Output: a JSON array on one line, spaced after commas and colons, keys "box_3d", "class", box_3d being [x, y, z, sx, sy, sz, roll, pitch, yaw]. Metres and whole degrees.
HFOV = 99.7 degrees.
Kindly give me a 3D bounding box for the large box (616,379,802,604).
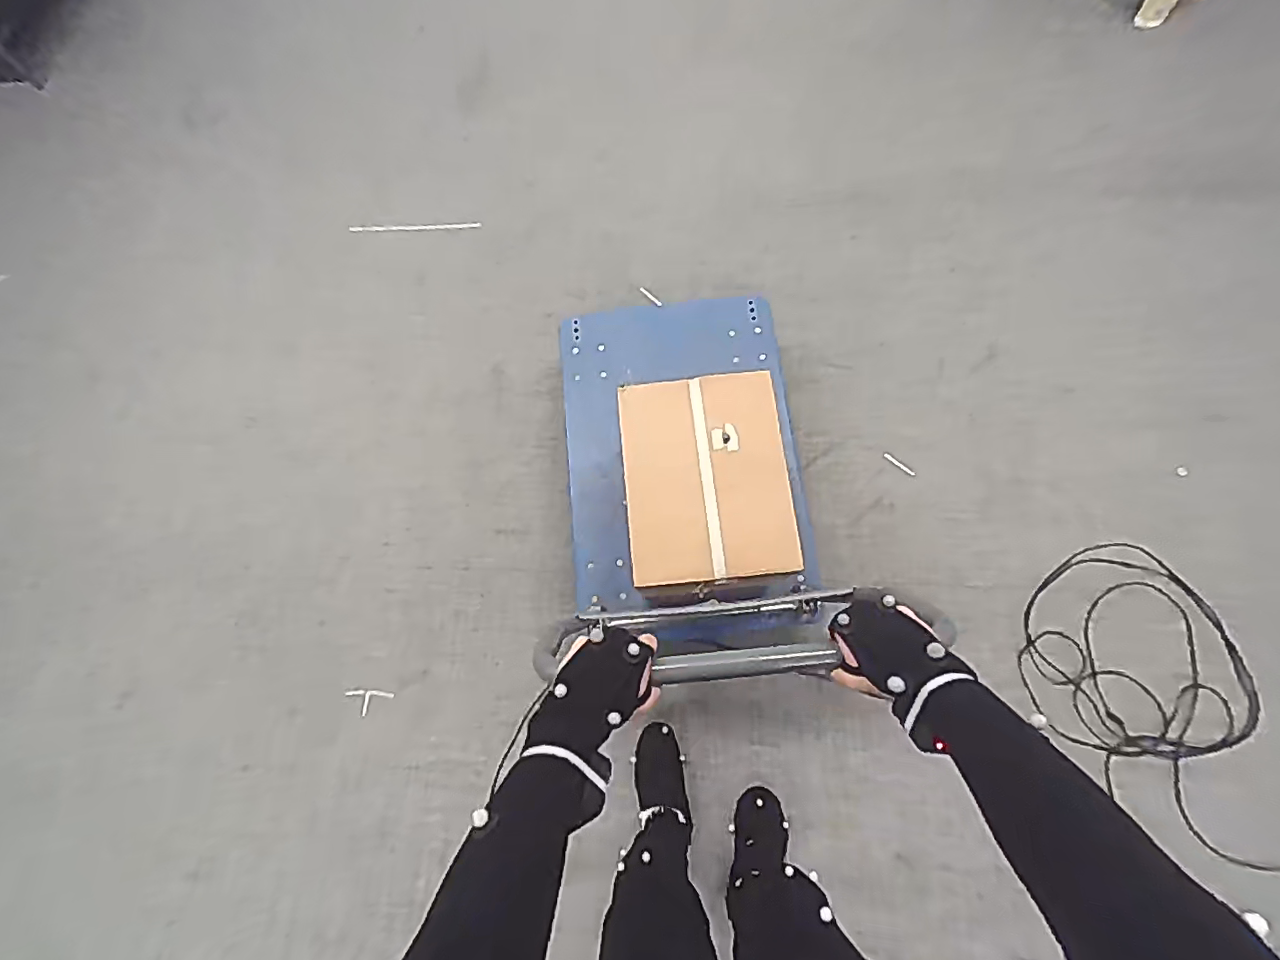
[{"box_3d": [0.132, 0.043, 1.186, 0.320, 0.320, 0.408, -6, 73, 0], "class": "large box"}]
